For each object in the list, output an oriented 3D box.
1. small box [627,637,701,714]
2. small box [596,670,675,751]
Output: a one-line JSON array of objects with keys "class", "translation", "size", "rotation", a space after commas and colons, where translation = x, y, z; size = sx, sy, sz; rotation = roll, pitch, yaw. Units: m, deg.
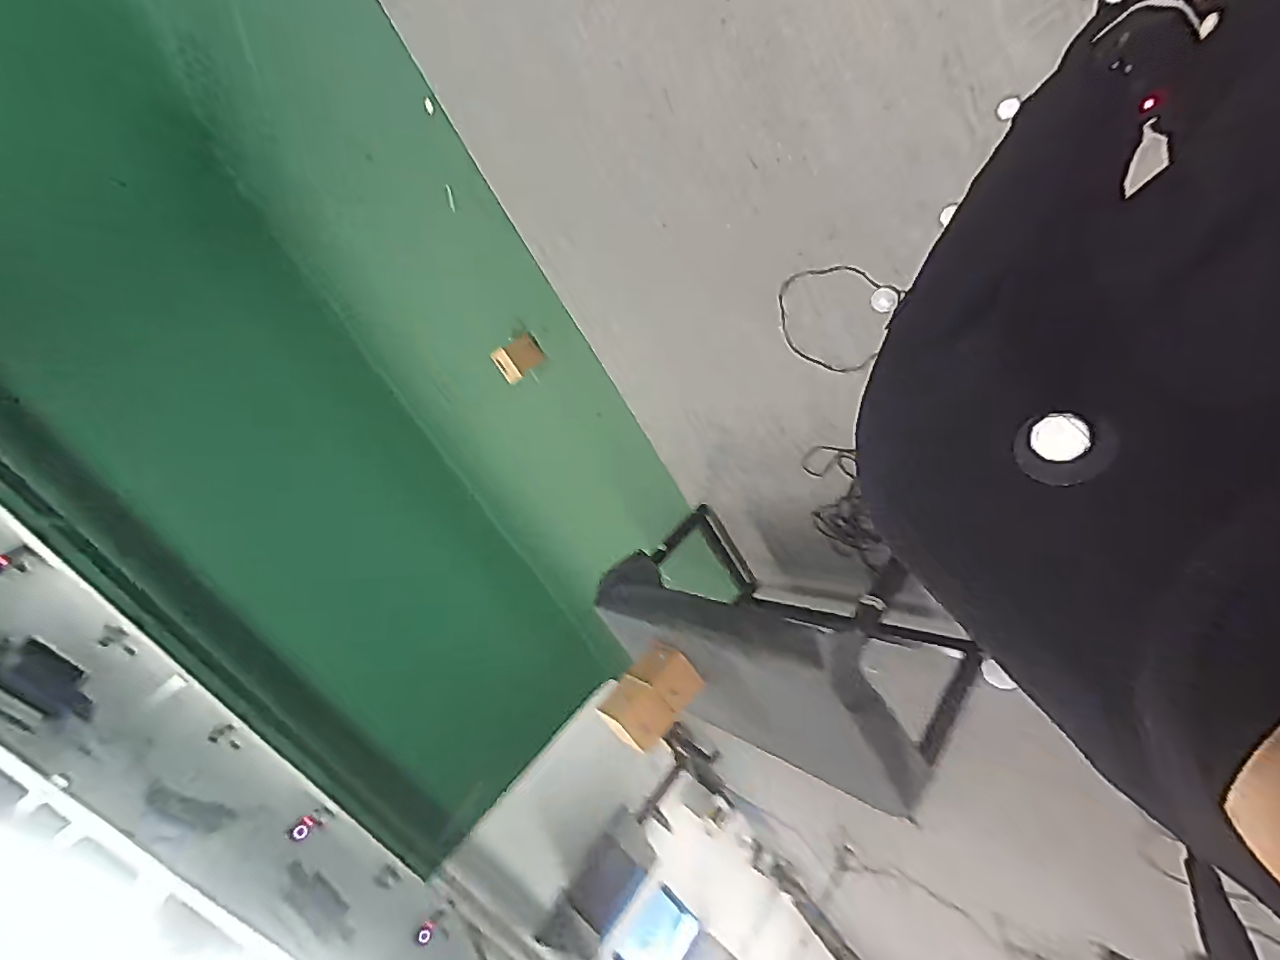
[{"class": "small box", "translation": [0.093, 0.706, 1.972], "size": [0.168, 0.176, 0.179], "rotation": [-3, 124, 55]}, {"class": "small box", "translation": [-0.014, 0.798, 1.891], "size": [0.168, 0.176, 0.179], "rotation": [-5, 125, 55]}]
